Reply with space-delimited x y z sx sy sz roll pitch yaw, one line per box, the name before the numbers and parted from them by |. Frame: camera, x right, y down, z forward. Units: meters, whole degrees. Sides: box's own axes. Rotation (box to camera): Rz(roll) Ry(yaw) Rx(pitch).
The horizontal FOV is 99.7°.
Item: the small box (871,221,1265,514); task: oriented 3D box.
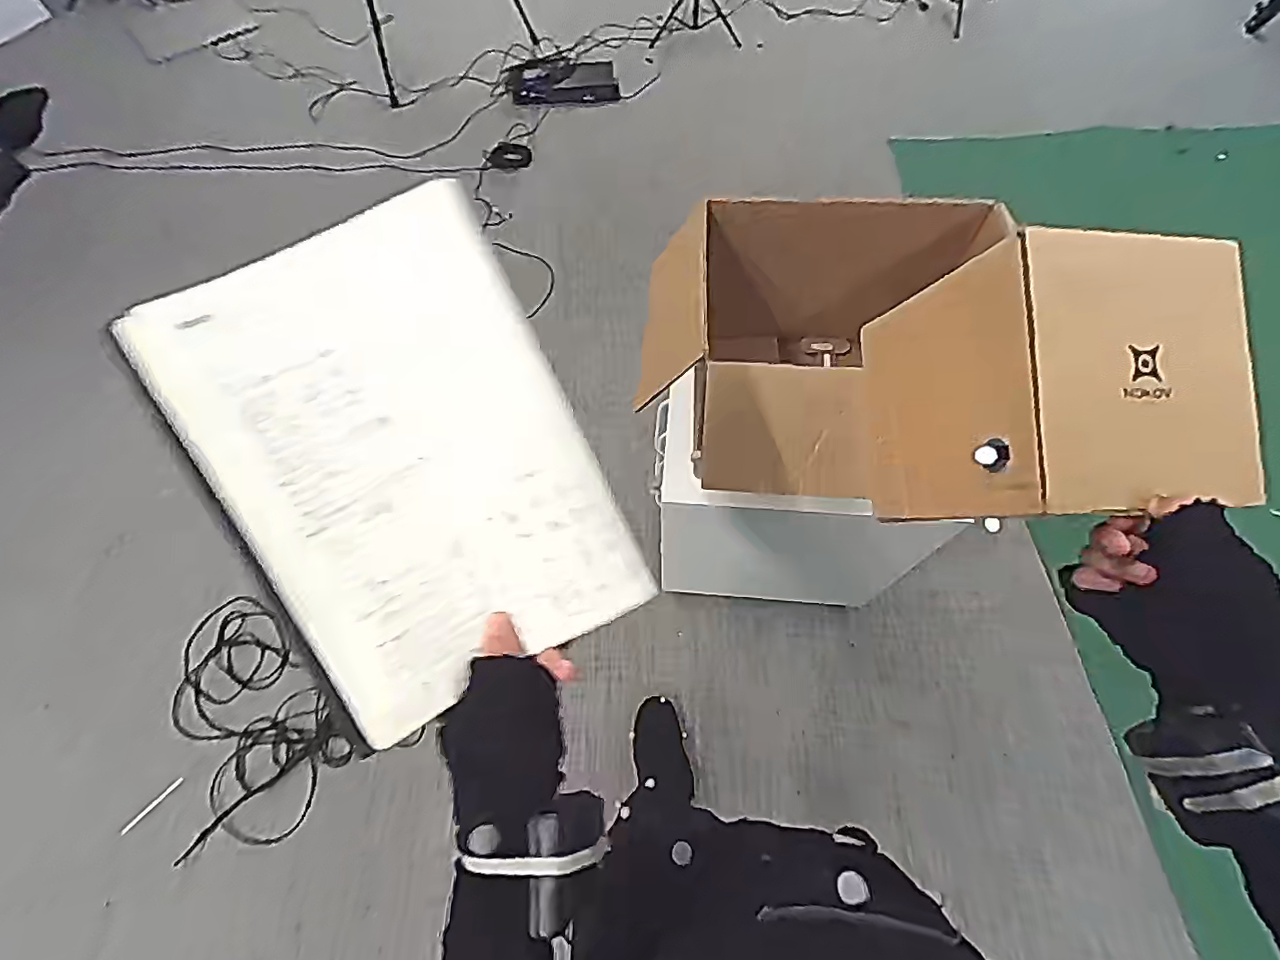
small box | 0.298 -0.066 0.413 0.168 0.176 0.179 -1 86 -10
